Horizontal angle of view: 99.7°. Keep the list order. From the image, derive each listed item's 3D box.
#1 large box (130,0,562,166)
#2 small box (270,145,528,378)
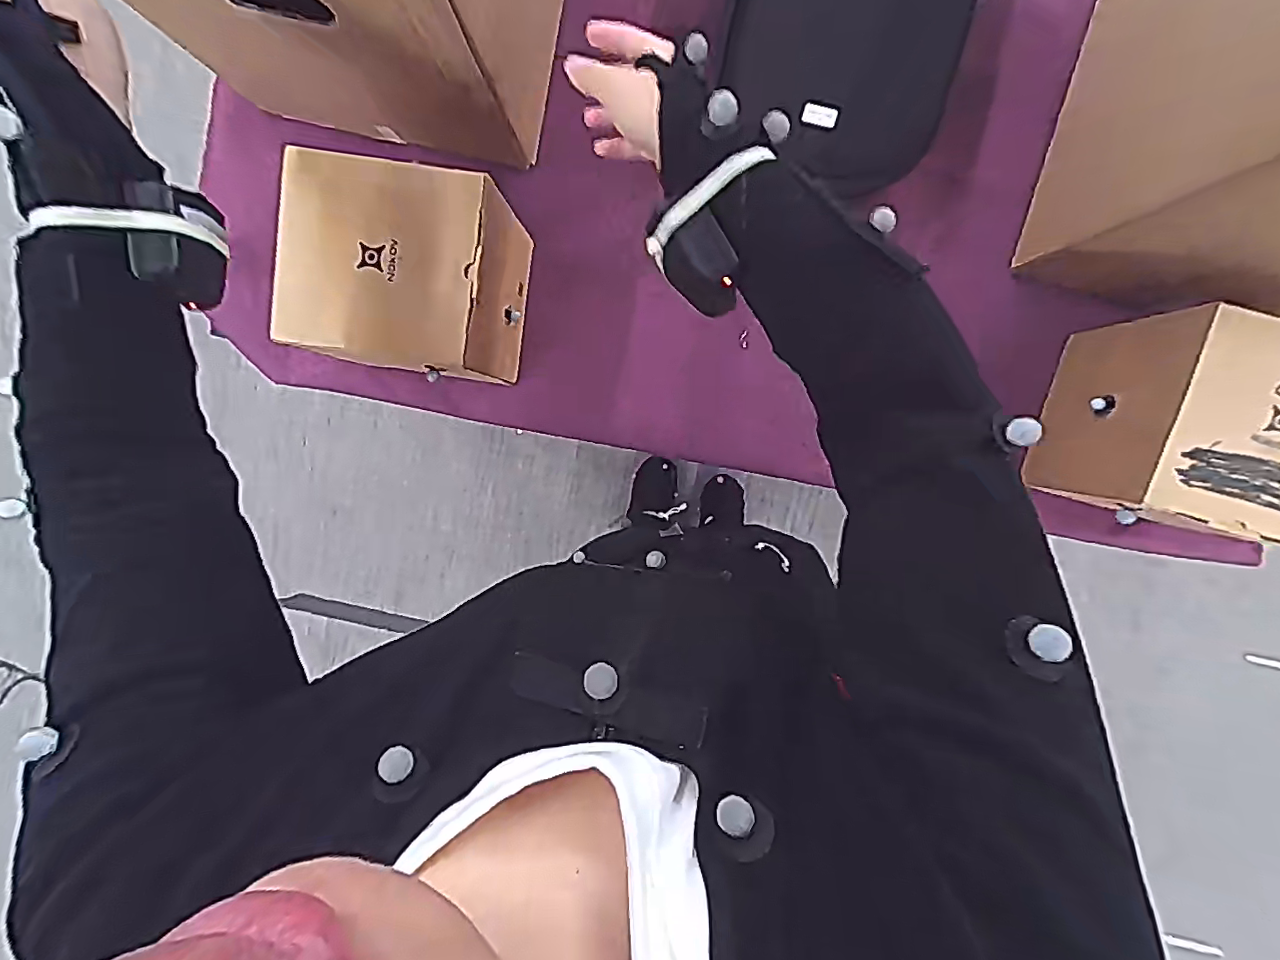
[{"bbox_3d":[-0.228,-0.552,0.435,0.320,0.320,0.408,11,99,-1],"label":"large box"},{"bbox_3d":[-0.226,-0.201,0.545,0.179,0.176,0.168,8,95,0],"label":"small box"}]
